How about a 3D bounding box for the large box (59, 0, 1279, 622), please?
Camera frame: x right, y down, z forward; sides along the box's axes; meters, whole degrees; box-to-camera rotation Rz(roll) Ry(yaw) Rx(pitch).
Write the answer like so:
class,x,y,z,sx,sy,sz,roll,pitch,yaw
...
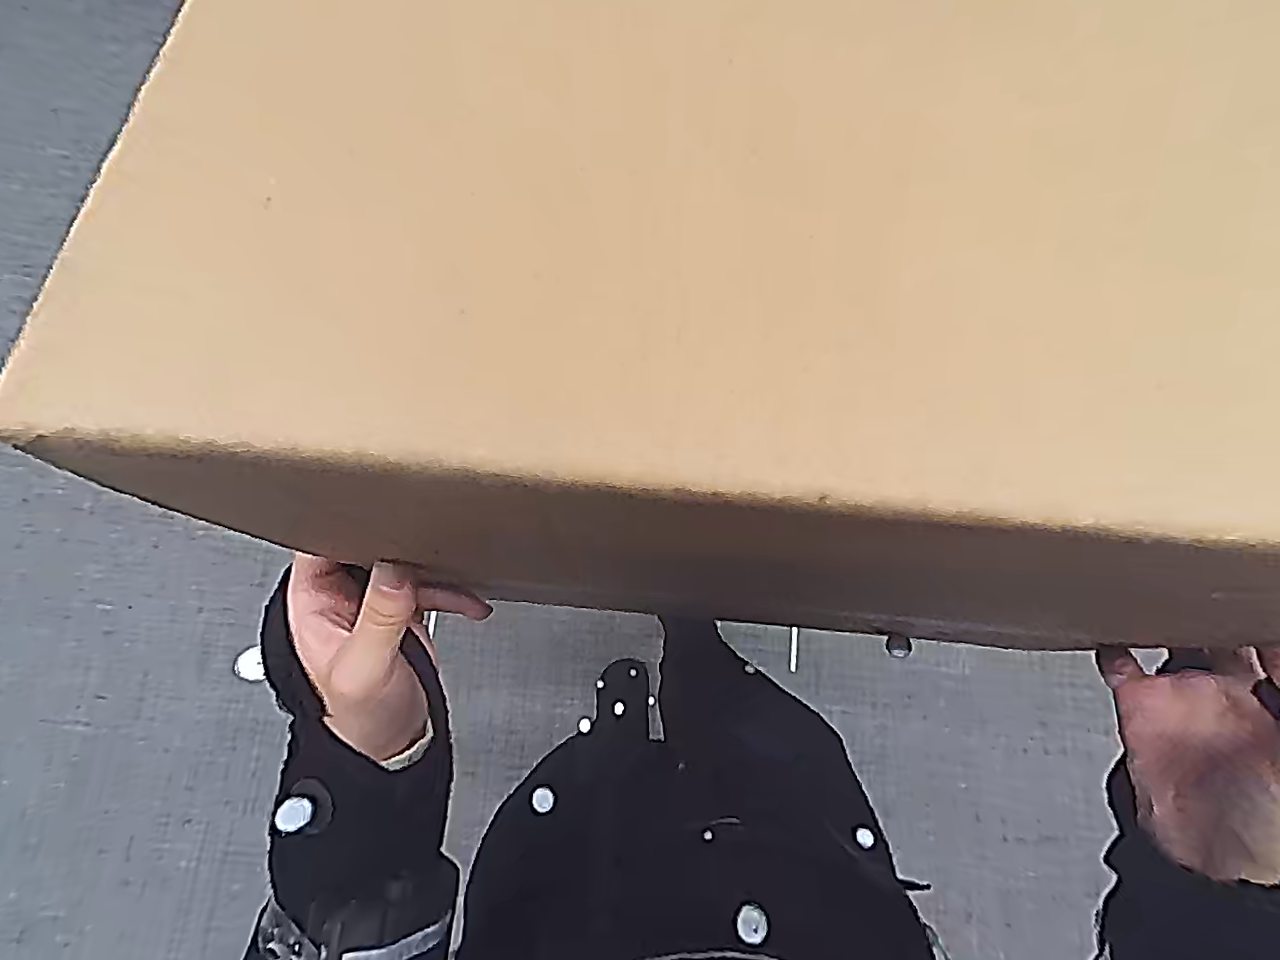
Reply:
class,x,y,z,sx,sy,sz,roll,pitch,yaw
large box,0.084,-0.103,0.292,0.408,0.320,0.320,4,74,-1
